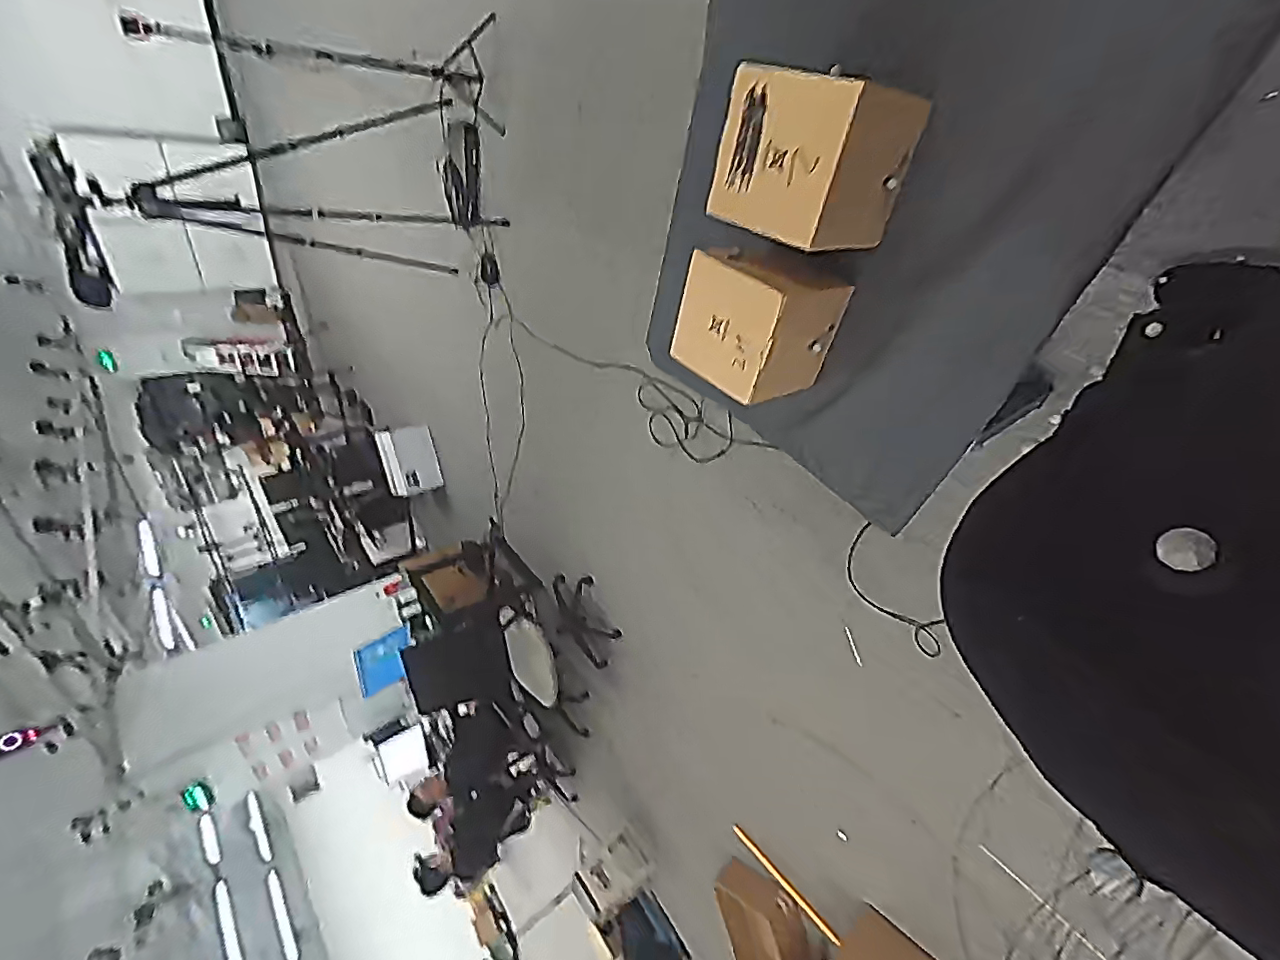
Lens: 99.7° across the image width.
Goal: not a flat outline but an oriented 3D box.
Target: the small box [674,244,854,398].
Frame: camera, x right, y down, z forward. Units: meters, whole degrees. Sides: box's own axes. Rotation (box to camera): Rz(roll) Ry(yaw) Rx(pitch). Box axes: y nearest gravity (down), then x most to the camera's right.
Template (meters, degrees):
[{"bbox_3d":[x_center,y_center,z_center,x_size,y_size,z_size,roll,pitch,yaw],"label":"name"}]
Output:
[{"bbox_3d":[0.183,-0.247,0.822,0.179,0.176,0.168,42,136,33],"label":"small box"}]
